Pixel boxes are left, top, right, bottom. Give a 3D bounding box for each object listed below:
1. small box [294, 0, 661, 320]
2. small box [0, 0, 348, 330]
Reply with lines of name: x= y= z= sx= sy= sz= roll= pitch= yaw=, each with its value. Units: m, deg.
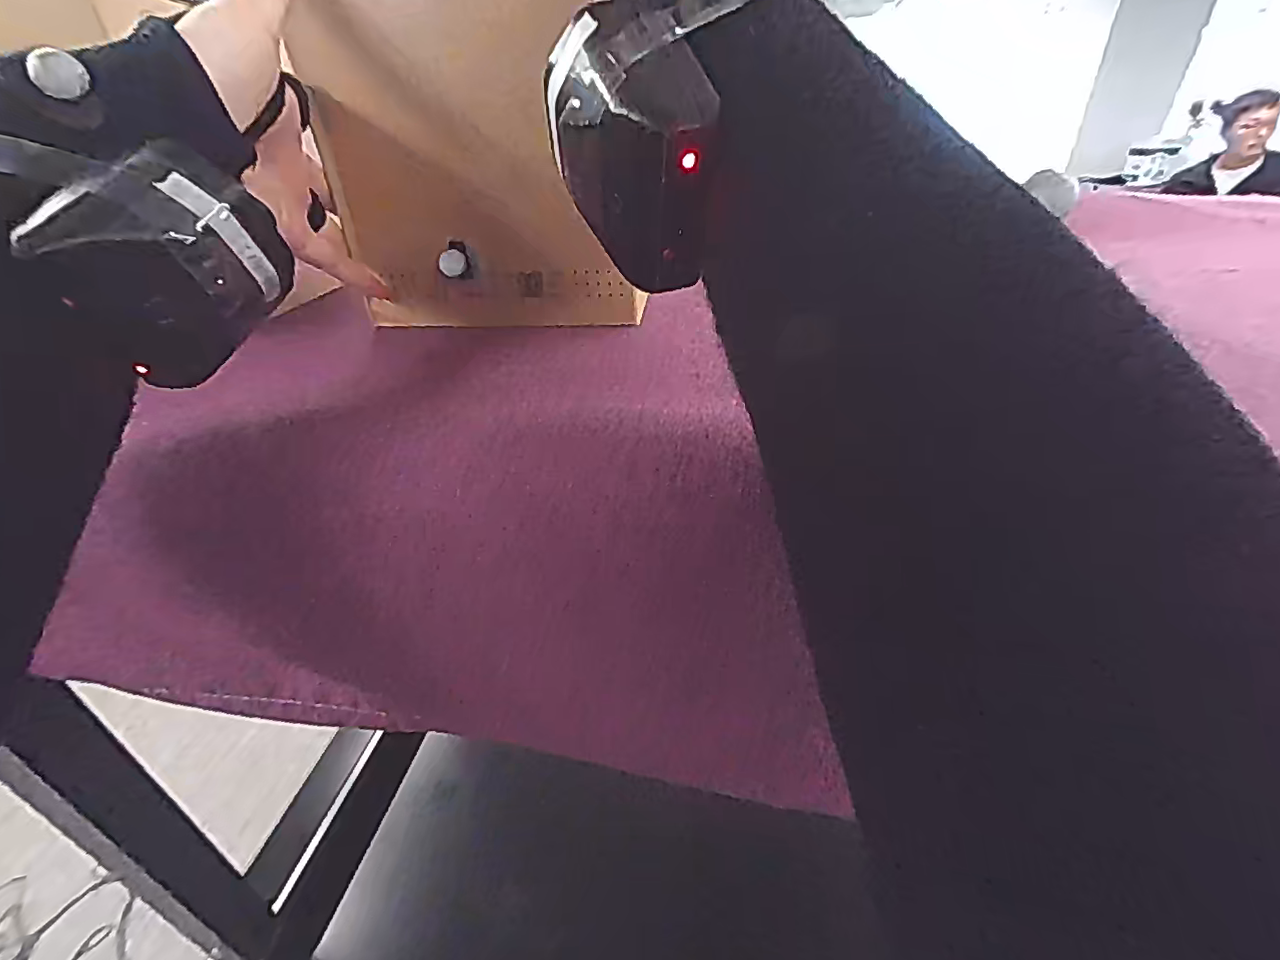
small box: x=-0.074 y=-0.210 z=0.346 sx=0.168 sy=0.176 sz=0.179 roll=0 pitch=33 yaw=6
small box: x=-0.319 y=-0.201 z=0.349 sx=0.168 sy=0.176 sz=0.179 roll=-3 pitch=30 yaw=0
